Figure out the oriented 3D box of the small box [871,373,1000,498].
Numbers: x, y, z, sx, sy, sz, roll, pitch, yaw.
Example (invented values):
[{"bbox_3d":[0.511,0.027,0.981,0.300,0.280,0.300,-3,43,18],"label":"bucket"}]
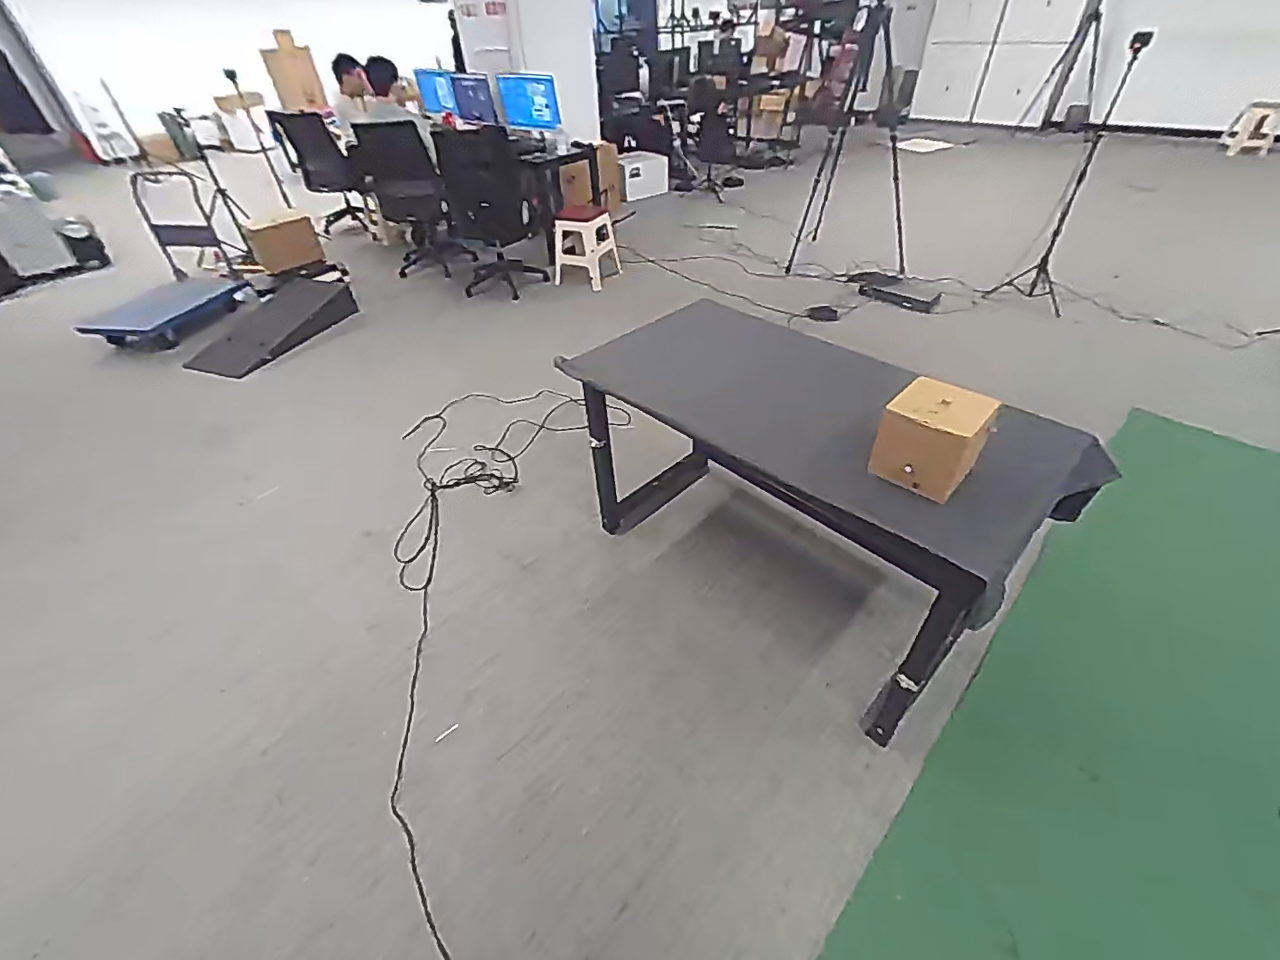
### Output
[{"bbox_3d":[0.611,-0.094,1.134,0.168,0.176,0.179,30,51,35],"label":"small box"}]
